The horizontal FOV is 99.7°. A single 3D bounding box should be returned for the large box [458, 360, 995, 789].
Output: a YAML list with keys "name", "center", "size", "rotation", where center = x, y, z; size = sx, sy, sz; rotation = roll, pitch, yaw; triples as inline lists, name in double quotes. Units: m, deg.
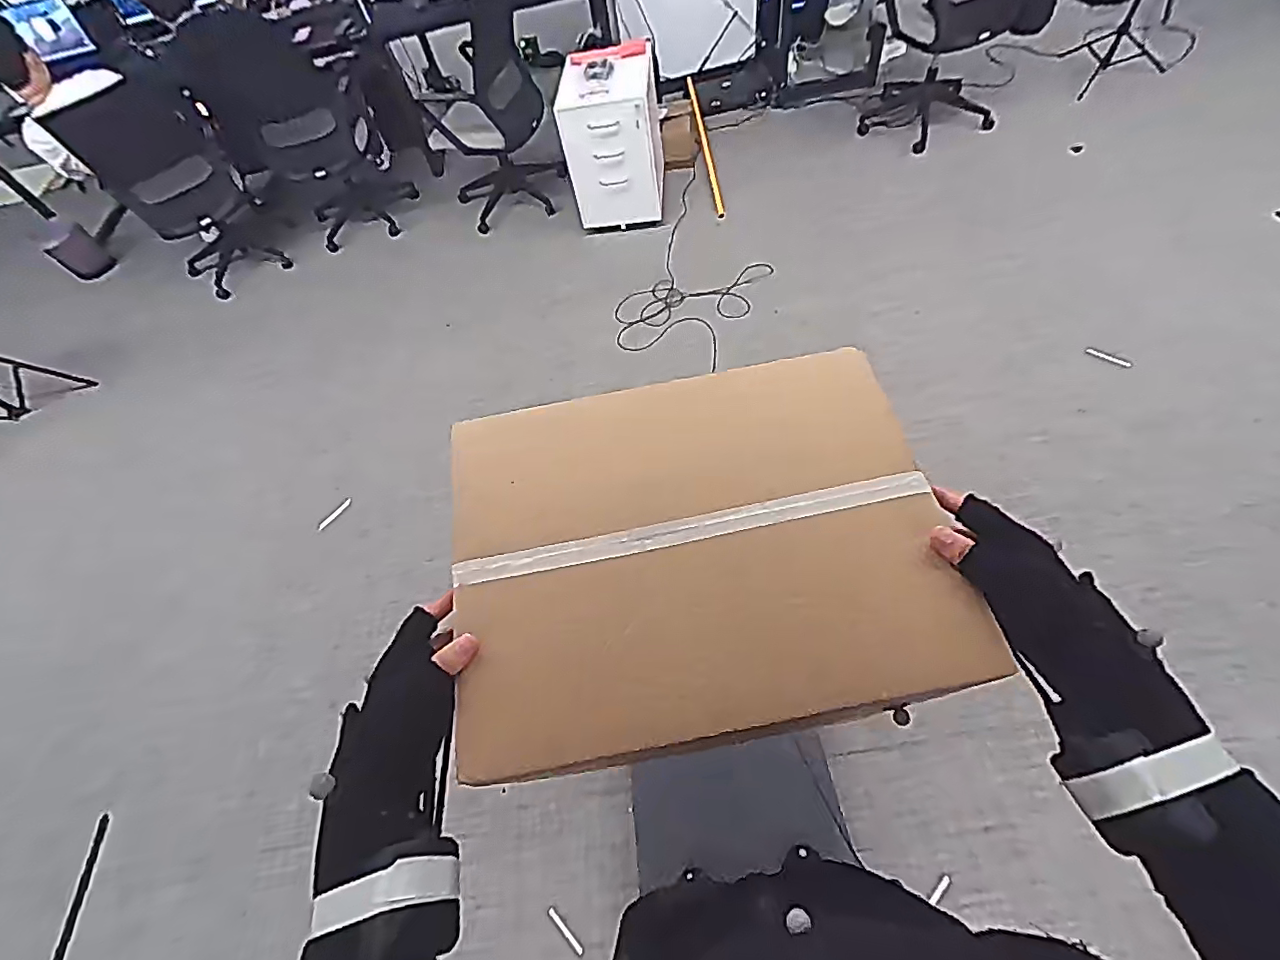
- name: "large box"
  center: [0.056, 0.118, 0.594]
  size: [0.408, 0.320, 0.320]
  rotation: [-11, 61, -1]
